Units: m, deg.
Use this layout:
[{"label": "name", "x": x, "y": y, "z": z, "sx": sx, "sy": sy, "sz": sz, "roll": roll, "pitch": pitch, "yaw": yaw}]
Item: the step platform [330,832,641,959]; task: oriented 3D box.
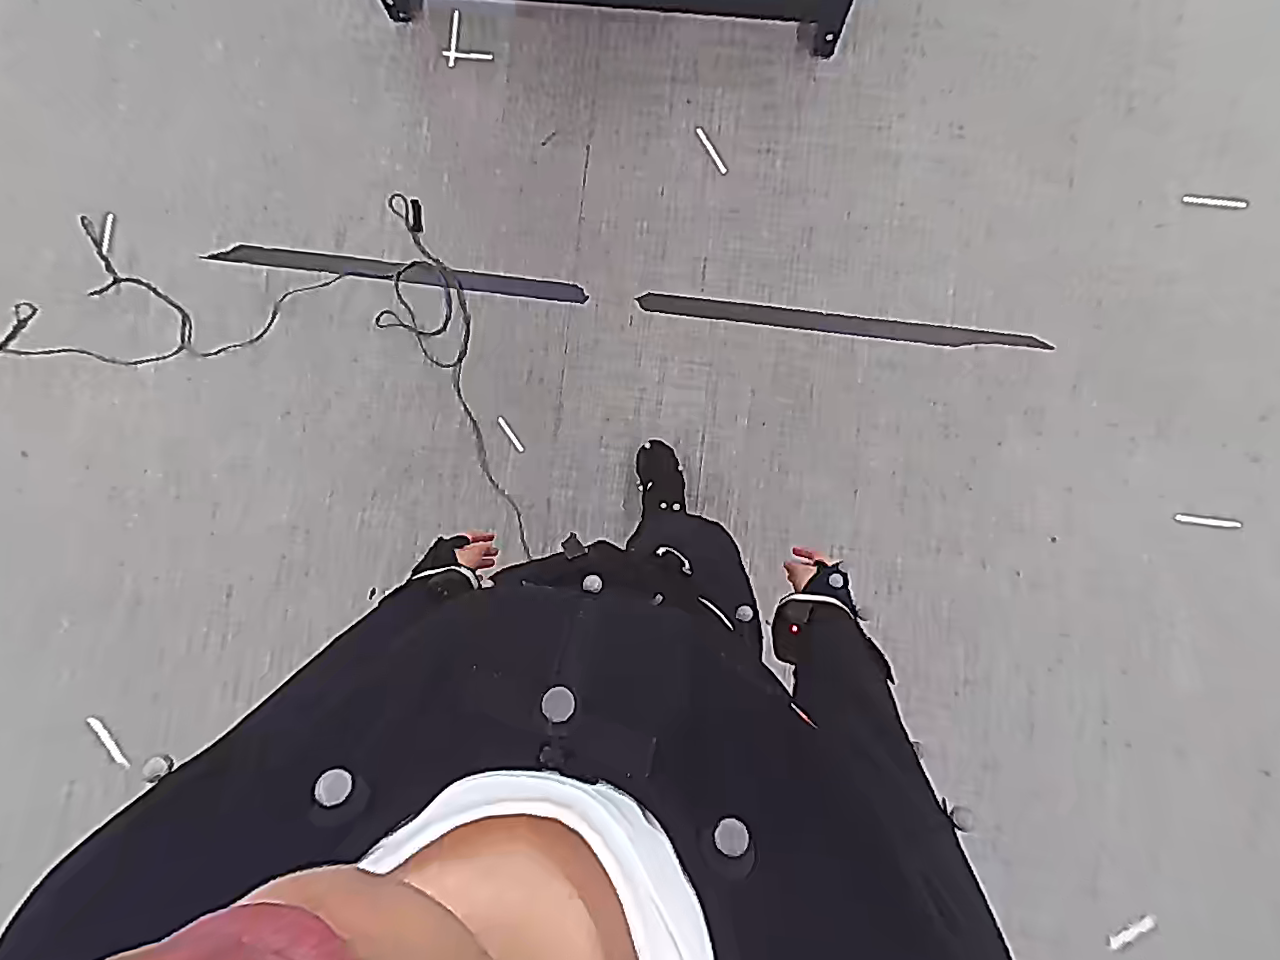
[{"label": "step platform", "x": -0.342, "y": 1.055, "z": 1.250, "sx": 0.684, "sy": 0.204, "sz": 0.286, "roll": 7, "pitch": 88, "yaw": 1}]
